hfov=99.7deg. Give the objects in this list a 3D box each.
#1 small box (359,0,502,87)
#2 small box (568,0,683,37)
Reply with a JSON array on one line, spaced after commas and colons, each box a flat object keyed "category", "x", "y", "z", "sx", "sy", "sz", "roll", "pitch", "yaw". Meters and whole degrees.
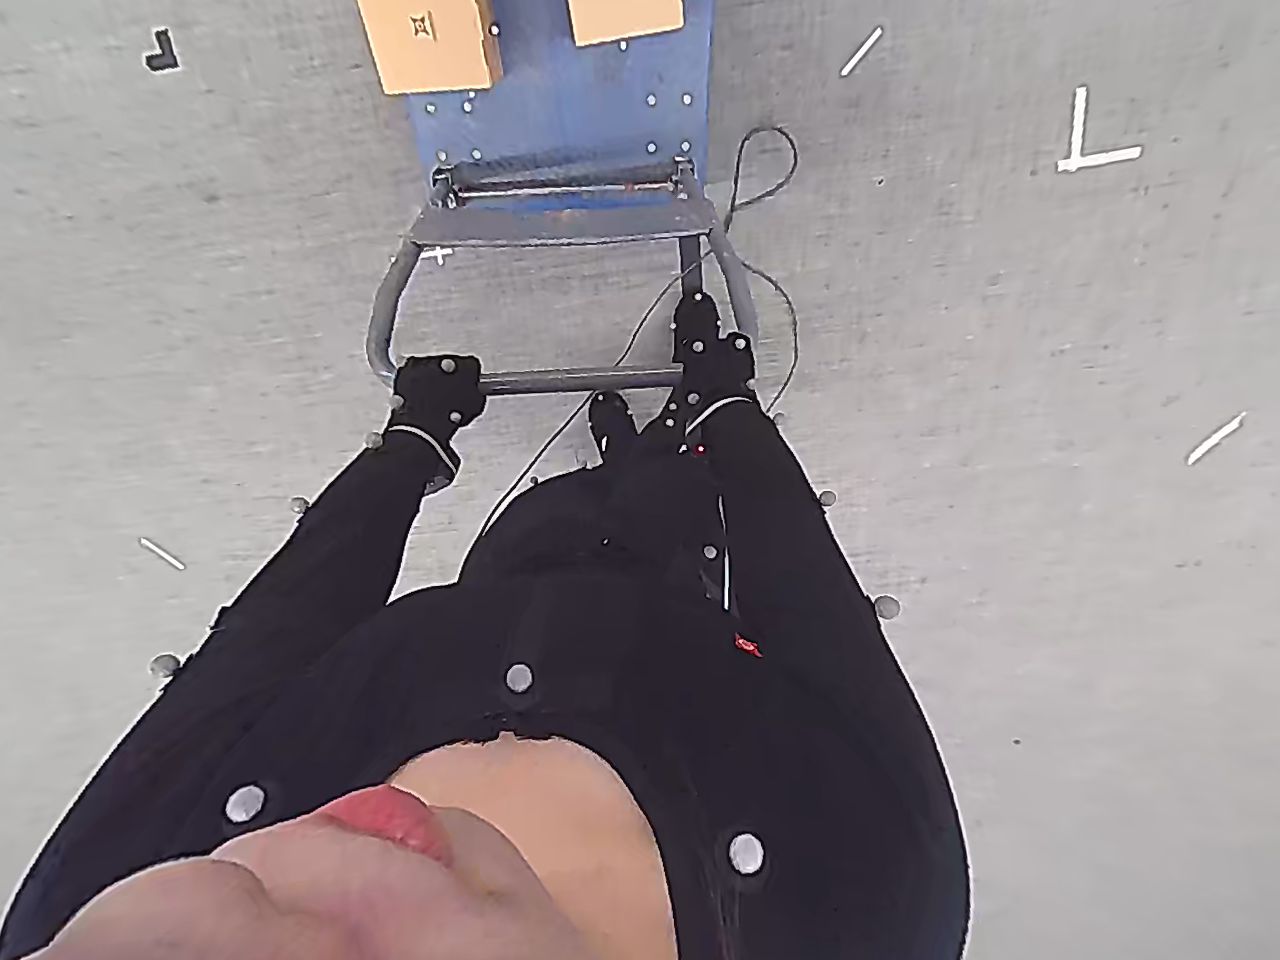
[{"category": "small box", "x": -0.335, "y": -0.753, "z": 0.880, "sx": 0.179, "sy": 0.176, "sz": 0.168, "roll": -6, "pitch": 132, "yaw": -2}, {"category": "small box", "x": -0.031, "y": -0.815, "z": 0.851, "sx": 0.179, "sy": 0.176, "sz": 0.168, "roll": -8, "pitch": 132, "yaw": 2}]
